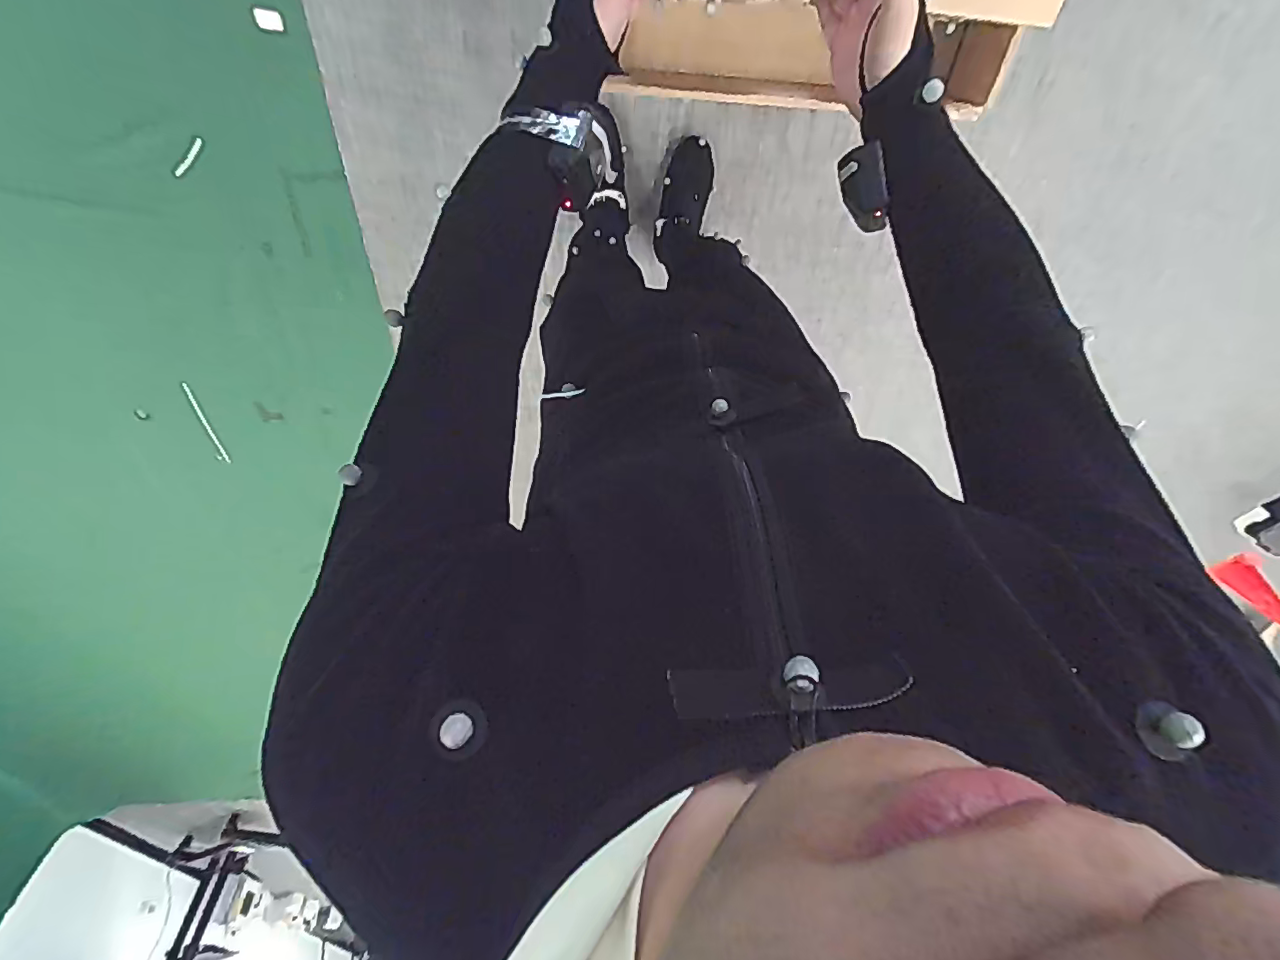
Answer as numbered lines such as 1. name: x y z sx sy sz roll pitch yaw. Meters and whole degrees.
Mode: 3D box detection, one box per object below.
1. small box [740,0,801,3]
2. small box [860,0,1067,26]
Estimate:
1. small box: 0.094 -0.597 0.534 0.168 0.176 0.179 1 131 -6
2. small box: 0.354 -0.594 0.563 0.179 0.176 0.168 1 133 -7
